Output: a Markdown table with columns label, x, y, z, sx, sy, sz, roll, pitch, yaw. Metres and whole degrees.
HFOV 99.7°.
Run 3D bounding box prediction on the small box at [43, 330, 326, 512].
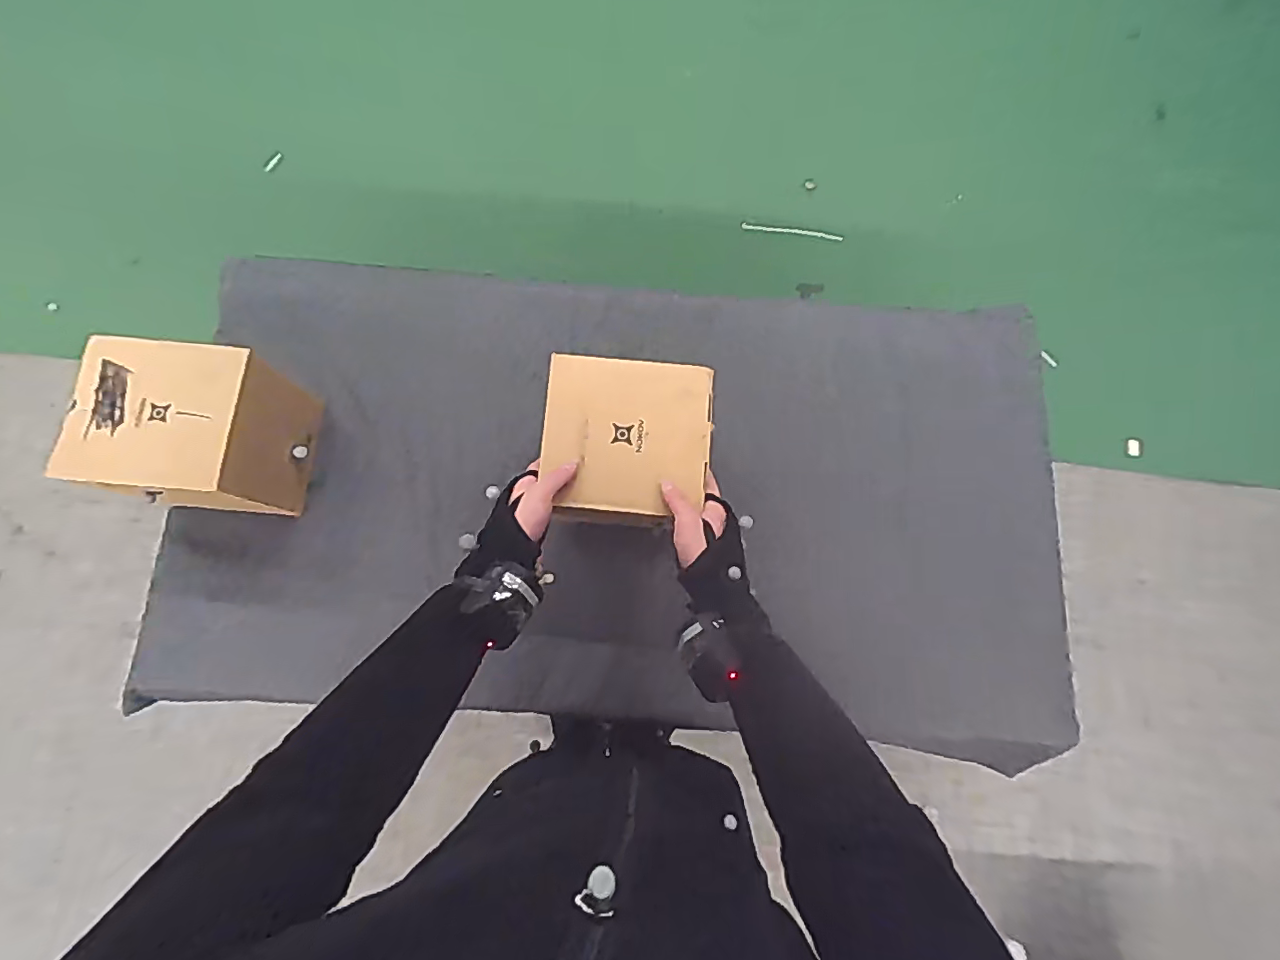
| label | x | y | z | sx | sy | sz | roll | pitch | yaw |
| --- | --- | --- | --- | --- | --- | --- | --- | --- | --- |
| small box | -0.516 | -0.058 | 0.644 | 0.179 | 0.176 | 0.168 | 5 | 78 | -3 |

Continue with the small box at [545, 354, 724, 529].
| label | x | y | z | sx | sy | sz | roll | pitch | yaw |
| --- | --- | --- | --- | --- | --- | --- | --- | --- | --- |
| small box | -0.005 | -0.033 | 0.634 | 0.179 | 0.176 | 0.168 | 4 | 80 | 0 |
